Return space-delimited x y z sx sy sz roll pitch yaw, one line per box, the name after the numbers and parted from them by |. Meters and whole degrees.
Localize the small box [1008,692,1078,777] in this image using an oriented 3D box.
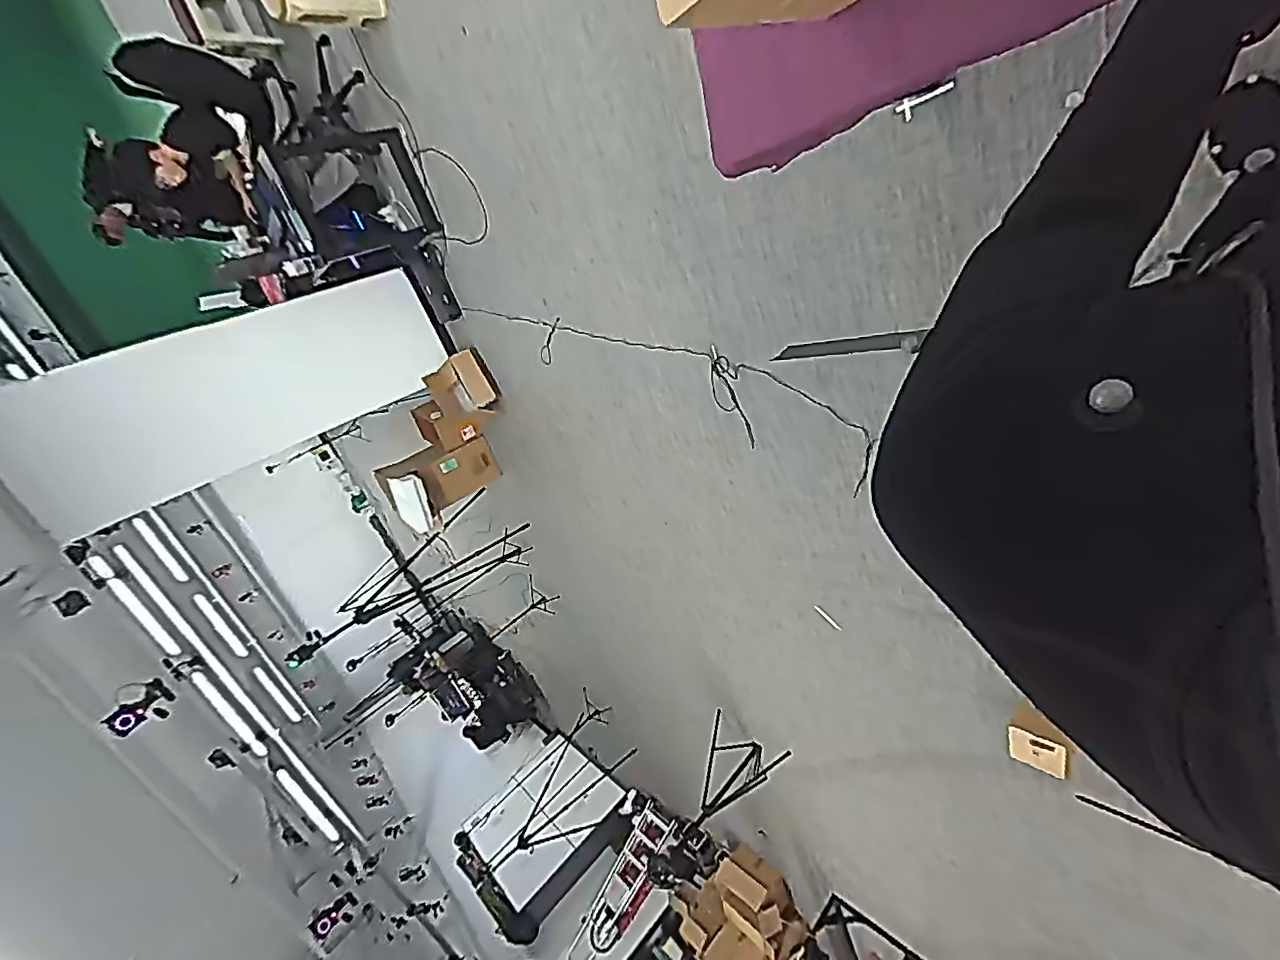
1.425 0.892 1.913 0.168 0.176 0.179 12 130 49 | small box

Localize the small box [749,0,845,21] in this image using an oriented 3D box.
0.226 -0.668 0.615 0.179 0.176 0.168 10 127 49 | small box
